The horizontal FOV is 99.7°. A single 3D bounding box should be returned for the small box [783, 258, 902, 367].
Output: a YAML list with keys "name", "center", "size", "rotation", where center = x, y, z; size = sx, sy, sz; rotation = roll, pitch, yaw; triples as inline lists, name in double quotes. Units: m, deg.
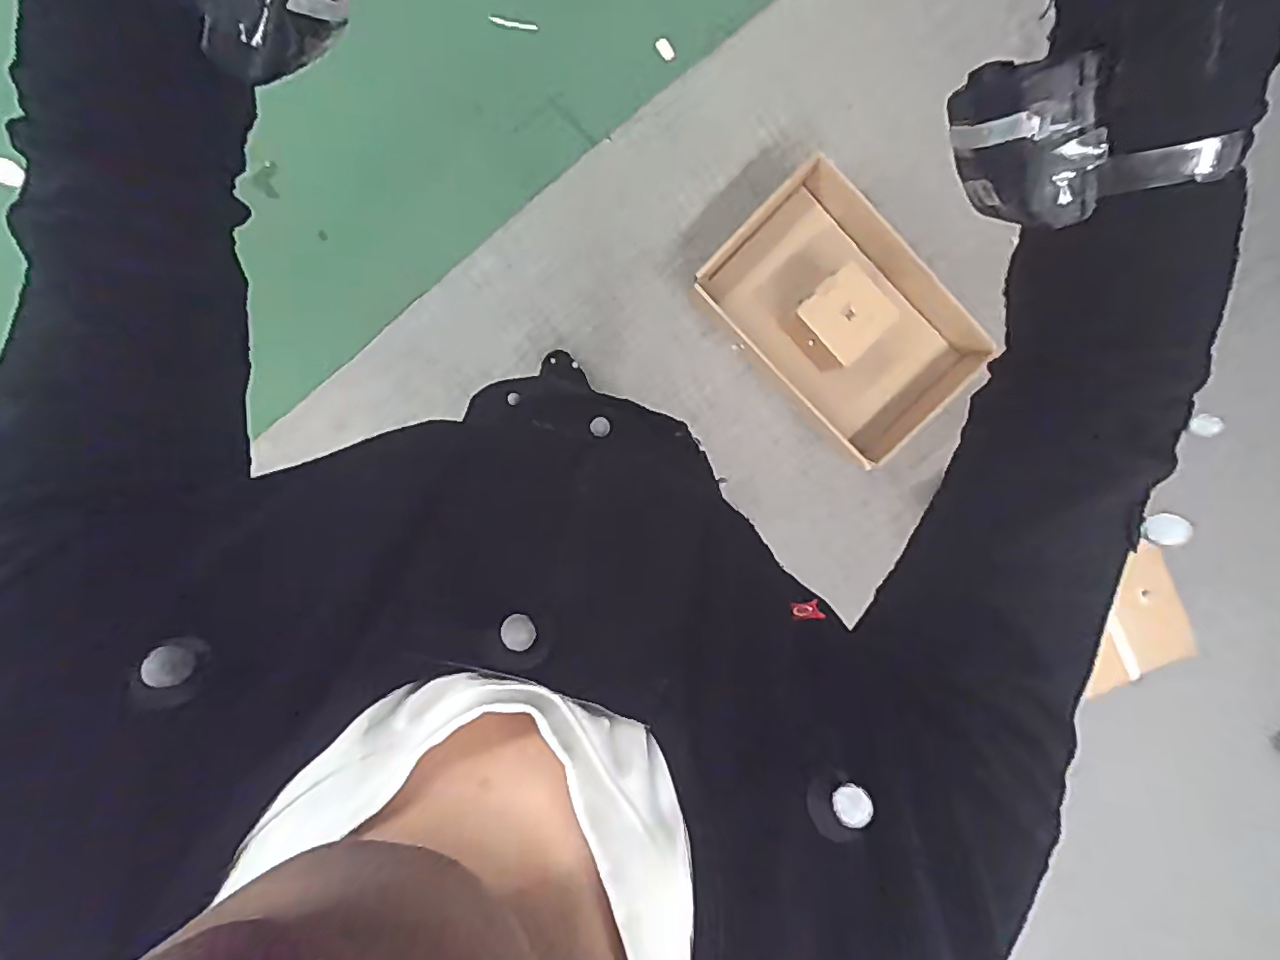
- name: "small box"
  center: [0.468, -0.385, 1.283]
  size: [0.168, 0.176, 0.179]
  rotation: [-44, 97, 6]
